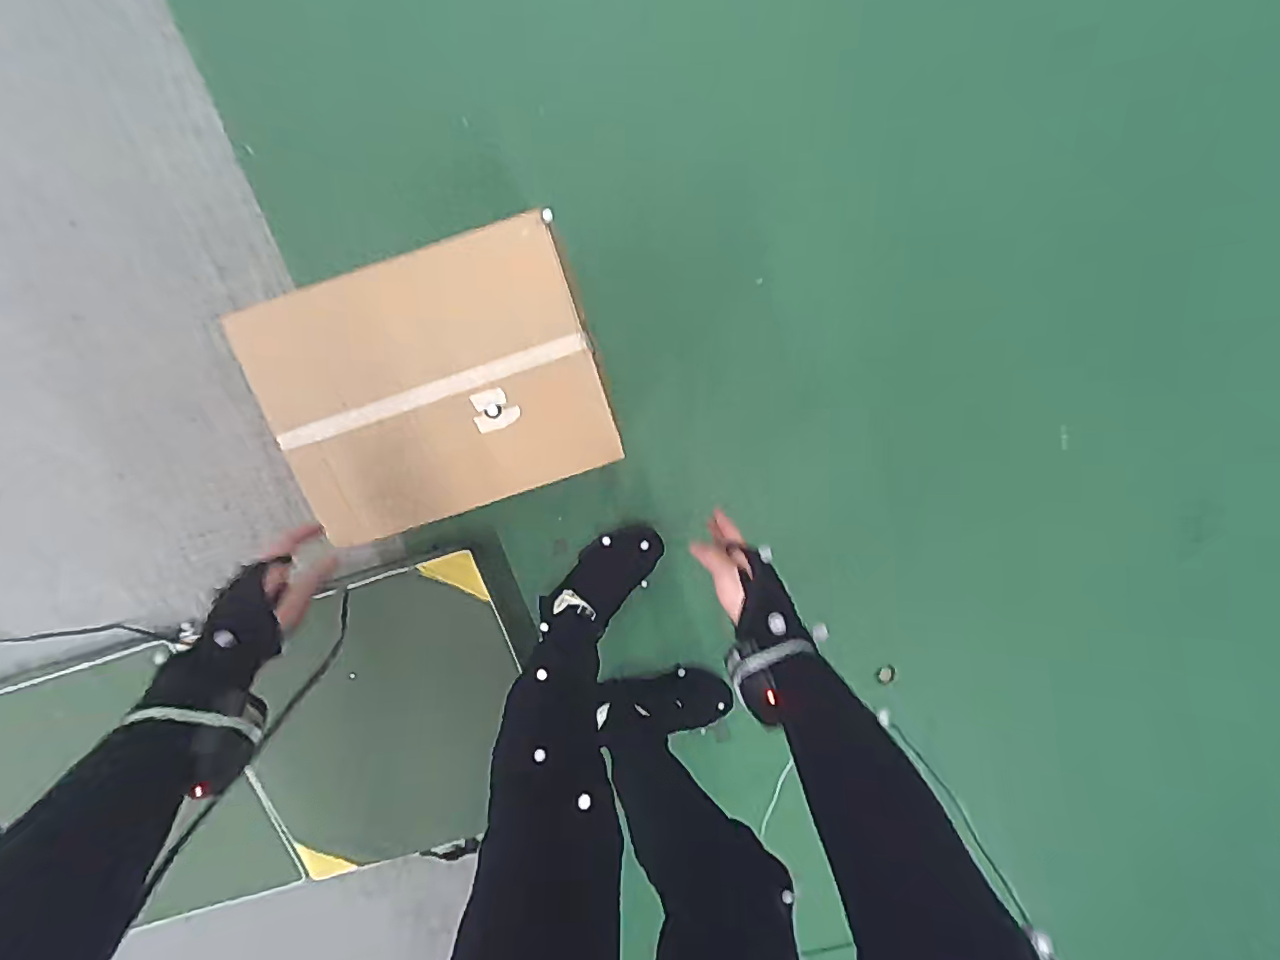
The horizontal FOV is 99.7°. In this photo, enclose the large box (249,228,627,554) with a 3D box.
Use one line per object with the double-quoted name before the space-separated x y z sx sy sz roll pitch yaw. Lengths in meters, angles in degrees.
"large box" -0.258 -0.130 0.834 0.408 0.320 0.320 -18 102 1
